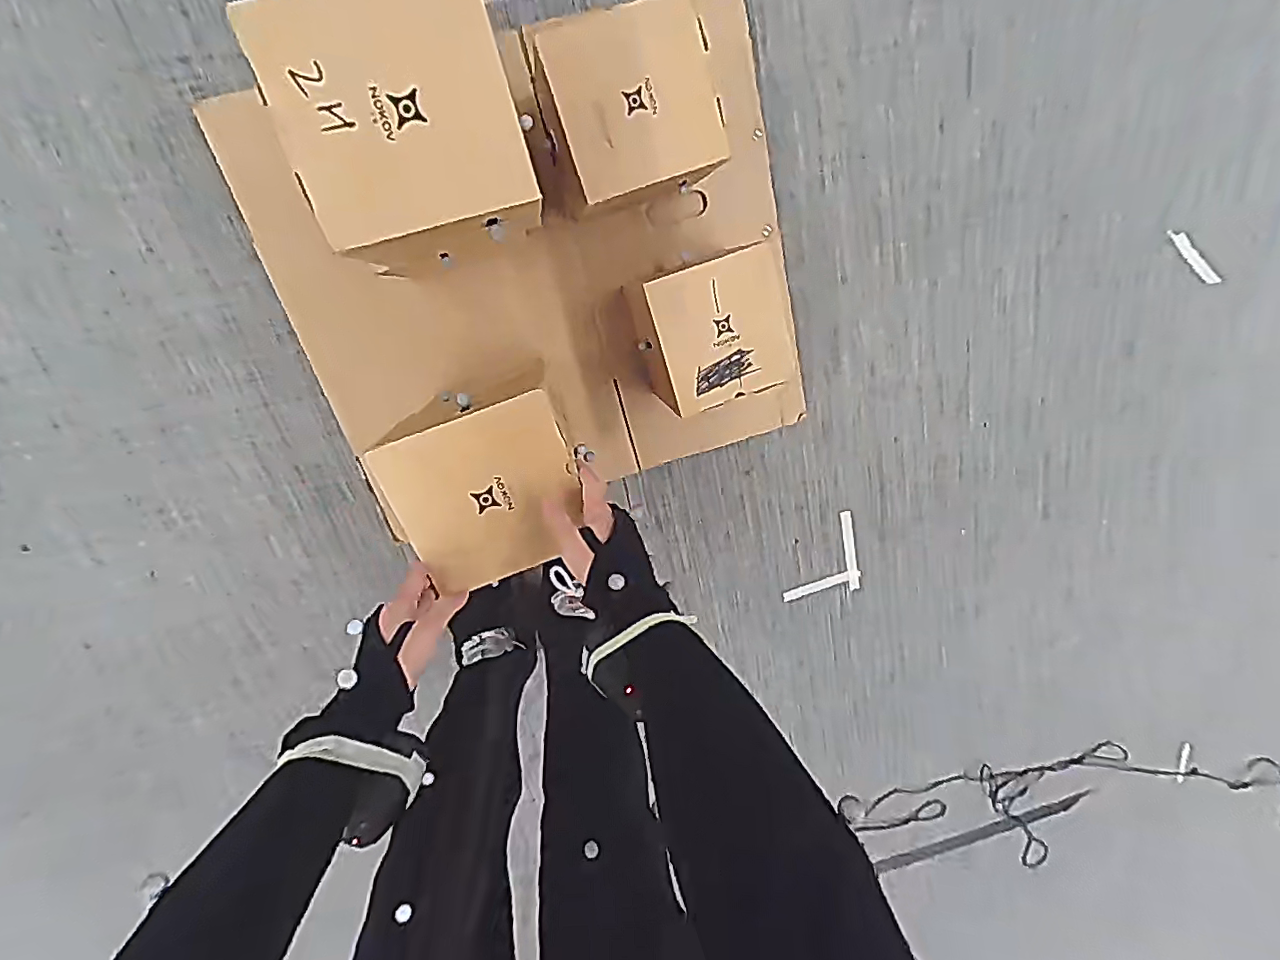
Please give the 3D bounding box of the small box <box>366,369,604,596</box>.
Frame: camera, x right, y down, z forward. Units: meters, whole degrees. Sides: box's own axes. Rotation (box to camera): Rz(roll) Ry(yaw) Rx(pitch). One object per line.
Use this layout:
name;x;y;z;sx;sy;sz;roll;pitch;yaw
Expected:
small box;-0.152;-0.009;0.584;0.179;0.176;0.168;-22;109;-3

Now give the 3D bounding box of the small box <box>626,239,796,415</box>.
small box;0.090;-0.212;0.743;0.168;0.176;0.179;-20;111;-3

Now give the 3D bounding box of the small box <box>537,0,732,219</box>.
small box;-0.015;-0.432;0.648;0.179;0.176;0.168;-21;111;-3

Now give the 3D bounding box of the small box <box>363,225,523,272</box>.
small box;-0.245;-0.351;0.629;0.179;0.176;0.168;-21;112;-2

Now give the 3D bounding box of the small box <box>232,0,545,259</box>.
small box;-0.193;-0.304;0.477;0.179;0.176;0.168;-17;110;-5
